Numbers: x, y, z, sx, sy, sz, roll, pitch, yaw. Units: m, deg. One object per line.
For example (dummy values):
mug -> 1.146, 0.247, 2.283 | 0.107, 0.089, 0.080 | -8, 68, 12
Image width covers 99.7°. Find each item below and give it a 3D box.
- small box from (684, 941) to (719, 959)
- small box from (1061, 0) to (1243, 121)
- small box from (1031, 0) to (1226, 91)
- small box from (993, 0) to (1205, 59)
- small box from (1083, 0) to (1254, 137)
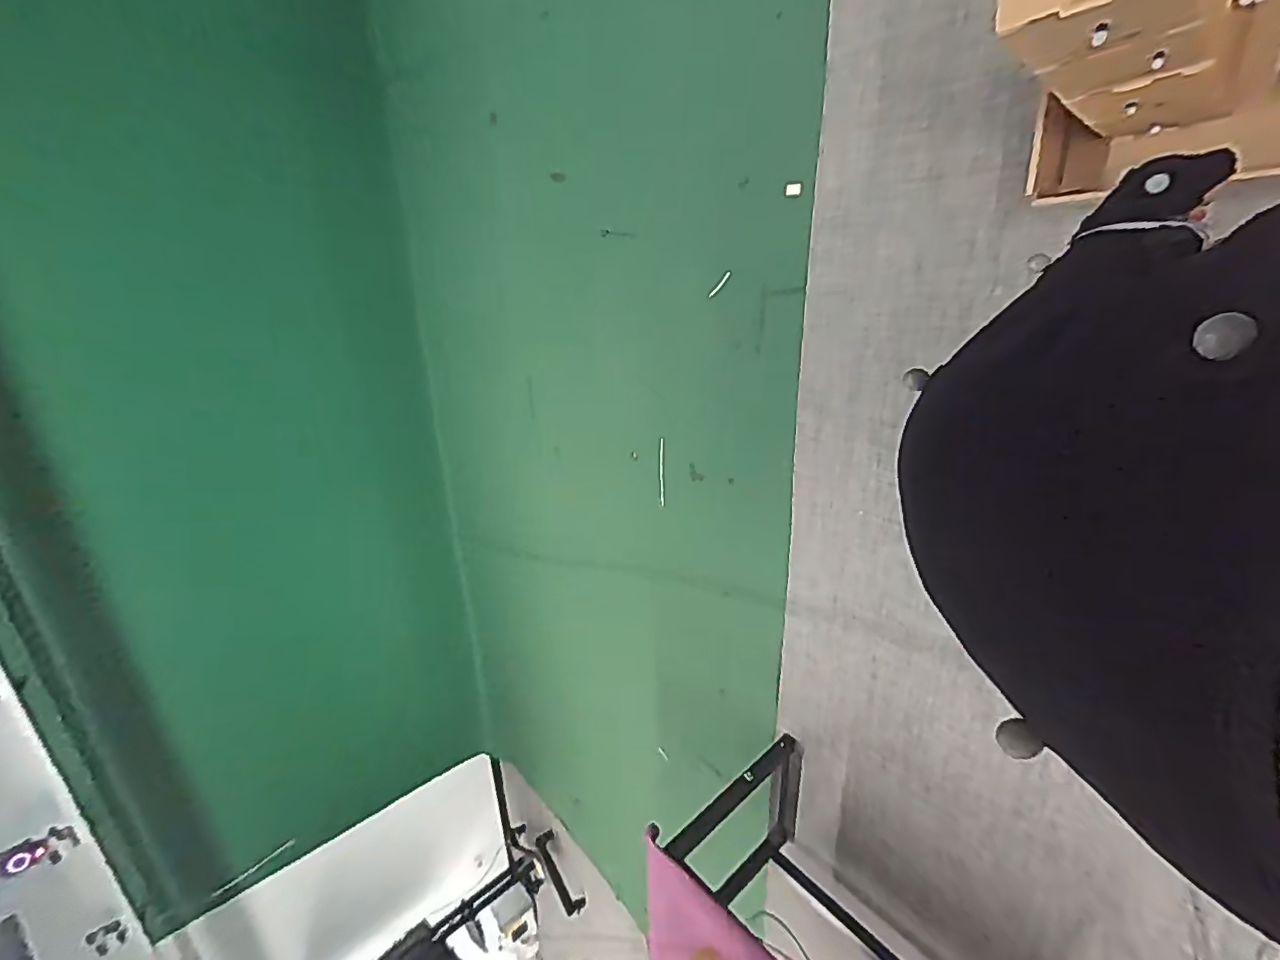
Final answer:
small box -> 0.173, 1.480, 1.534 | 0.168, 0.176, 0.179 | 28, 125, 44
small box -> 0.751, -0.658, 0.791 | 0.168, 0.176, 0.179 | 17, 117, 45
small box -> 0.629, -0.625, 0.687 | 0.168, 0.176, 0.179 | 15, 115, 45
small box -> 0.509, -0.589, 0.582 | 0.168, 0.176, 0.179 | 14, 115, 45
small box -> 0.872, -0.695, 0.894 | 0.168, 0.176, 0.179 | 19, 118, 45
